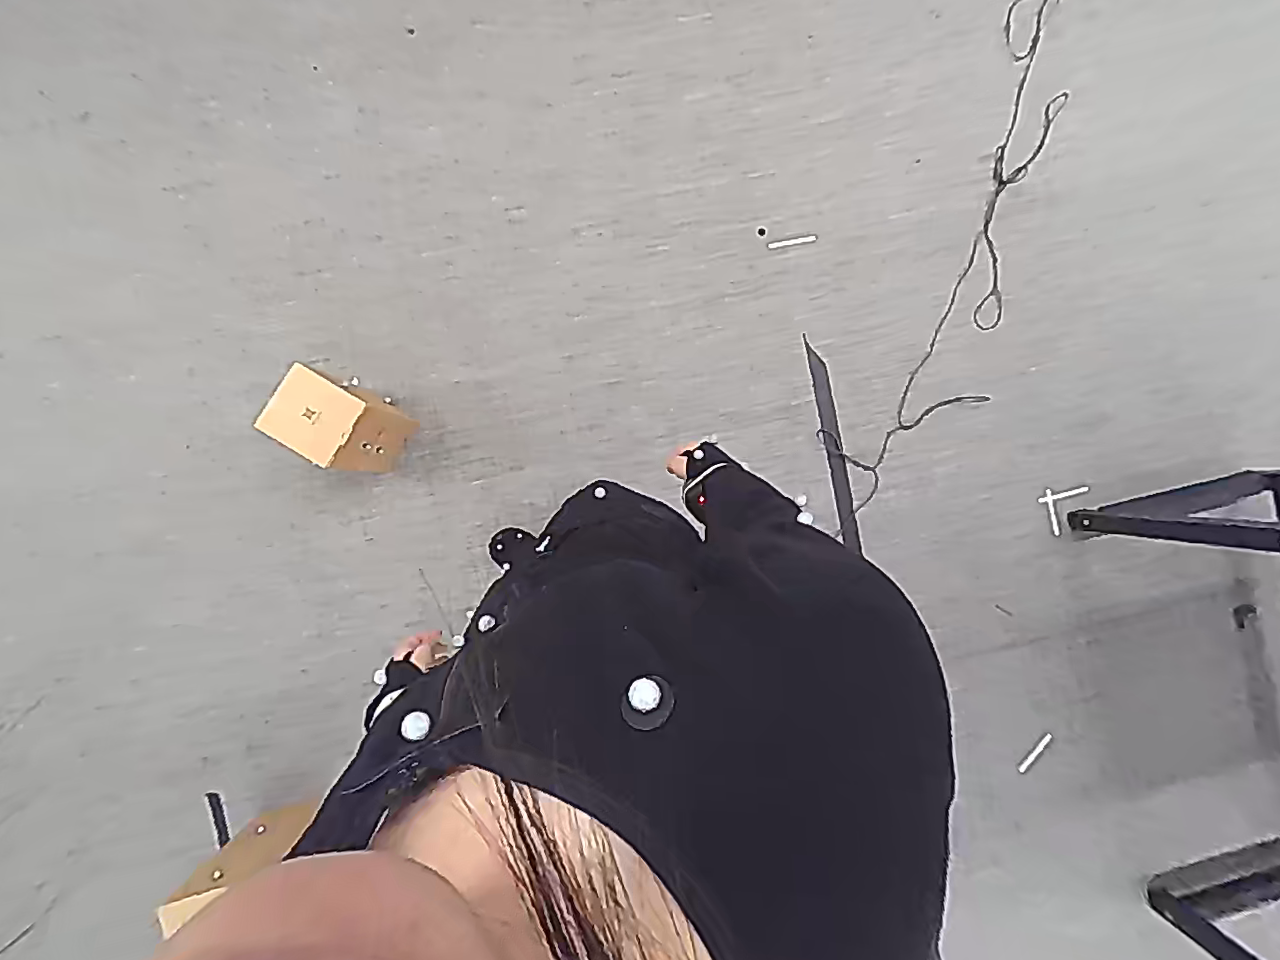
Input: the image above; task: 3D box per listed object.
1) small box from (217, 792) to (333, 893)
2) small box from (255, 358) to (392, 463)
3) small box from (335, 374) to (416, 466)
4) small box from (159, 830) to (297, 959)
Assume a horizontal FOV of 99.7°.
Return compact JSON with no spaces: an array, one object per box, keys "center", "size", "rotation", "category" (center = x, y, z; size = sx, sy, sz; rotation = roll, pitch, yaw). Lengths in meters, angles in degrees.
[{"center":[-0.920,0.939,1.384],"size":[0.179,0.176,0.168],"rotation":[-17,90,-2],"category":"small box"},{"center":[-0.705,-0.146,1.226],"size":[0.179,0.176,0.168],"rotation":[32,87,-4],"category":"small box"},{"center":[-0.715,-0.145,1.389],"size":[0.179,0.176,0.168],"rotation":[32,88,-3],"category":"small box"},{"center":[-0.912,0.934,1.219],"size":[0.179,0.176,0.168],"rotation":[-16,91,-3],"category":"small box"}]
